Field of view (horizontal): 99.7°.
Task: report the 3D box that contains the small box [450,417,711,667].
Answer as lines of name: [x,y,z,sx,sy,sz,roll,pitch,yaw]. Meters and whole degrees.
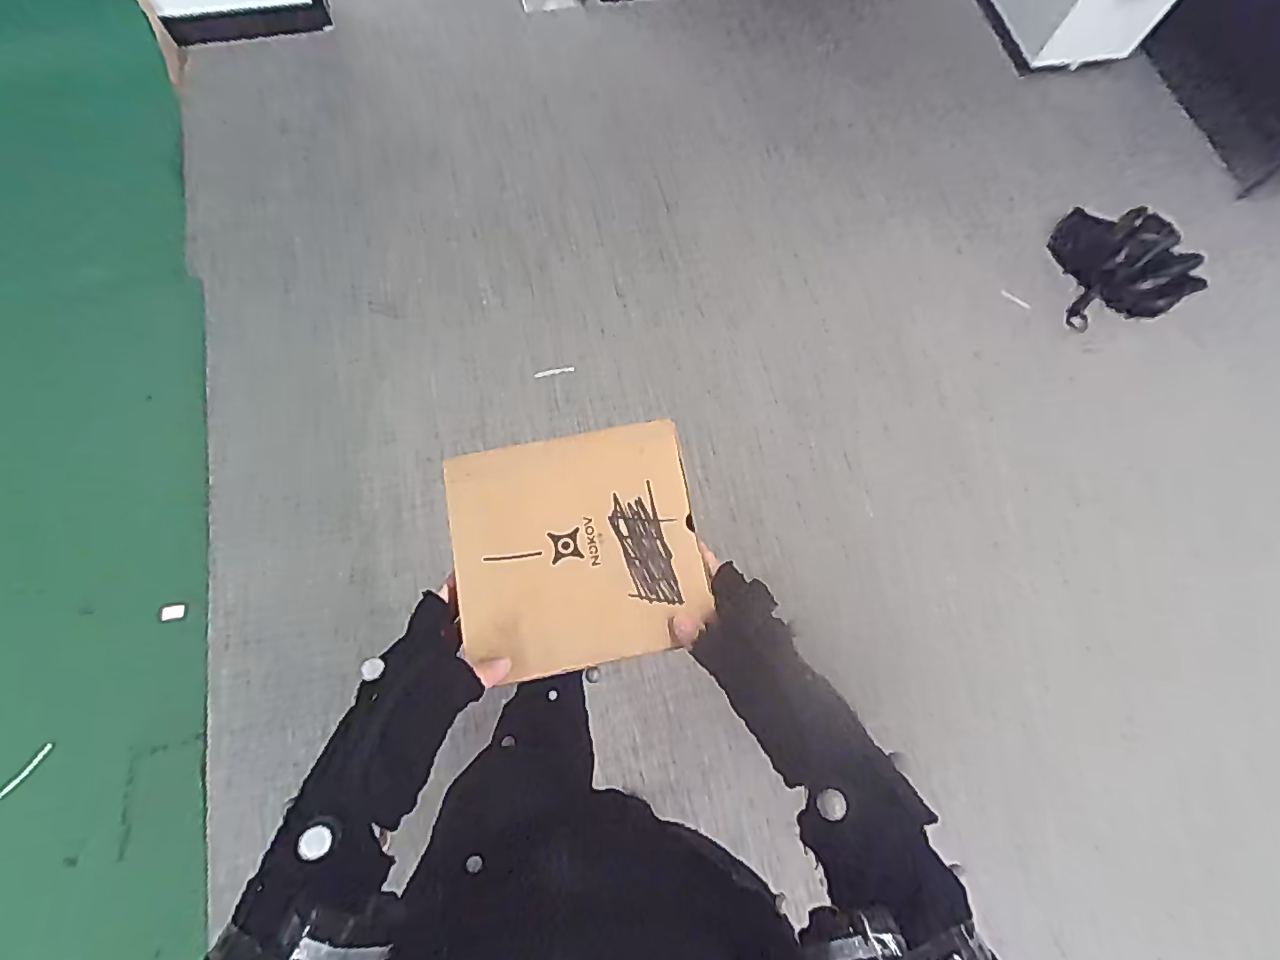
small box: [-0.050,0.061,0.467,0.179,0.176,0.168,-8,73,-4]
